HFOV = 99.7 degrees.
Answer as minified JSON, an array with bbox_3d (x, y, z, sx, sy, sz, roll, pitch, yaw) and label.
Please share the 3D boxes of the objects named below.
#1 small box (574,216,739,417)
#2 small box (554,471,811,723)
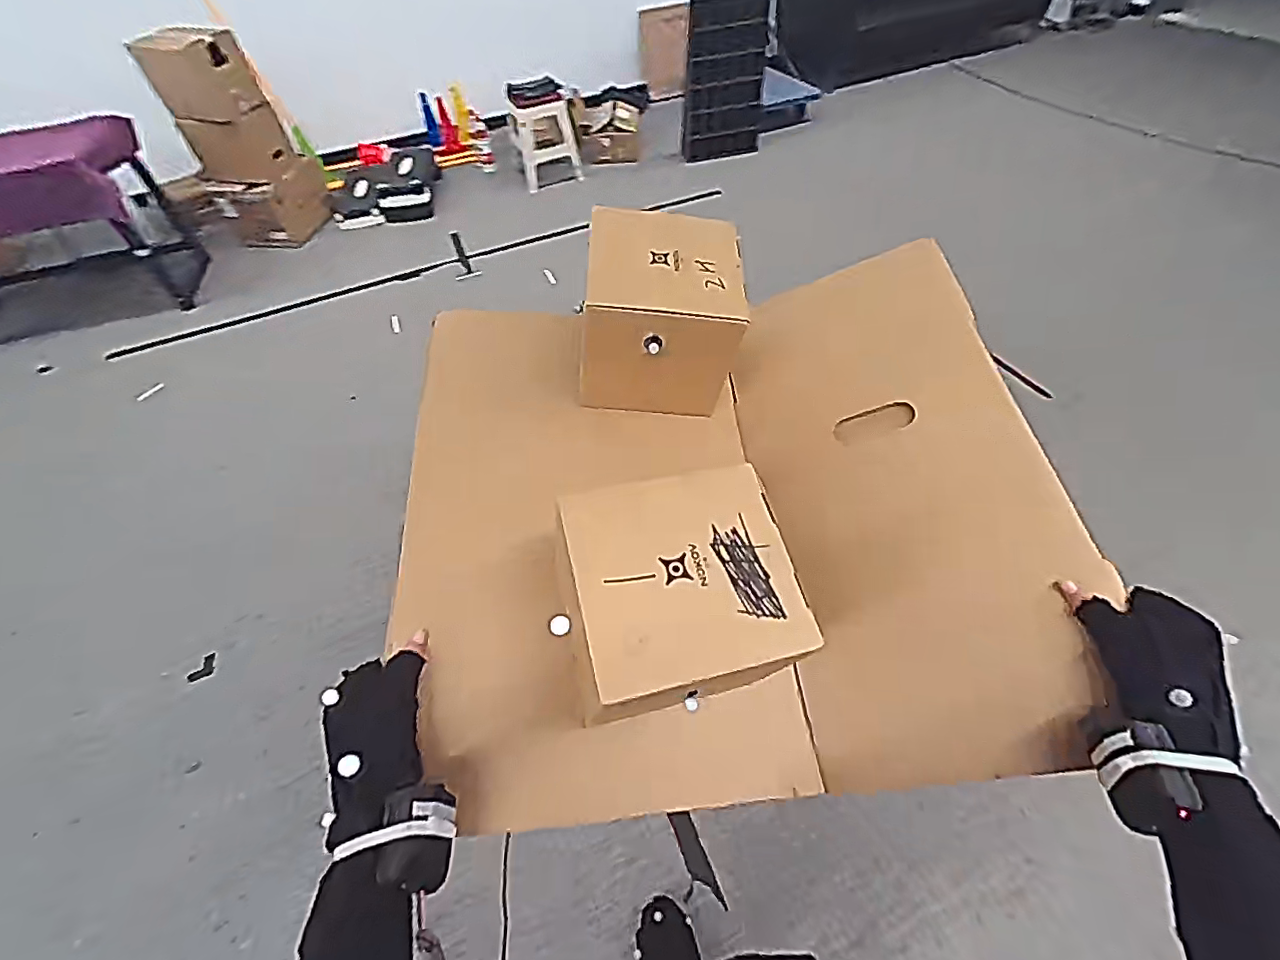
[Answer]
[{"bbox_3d":[0.010,-0.194,0.672,0.179,0.176,0.168,4,60,-8],"label":"small box"},{"bbox_3d":[0.020,0.113,0.499,0.179,0.176,0.168,-10,63,-14],"label":"small box"}]
